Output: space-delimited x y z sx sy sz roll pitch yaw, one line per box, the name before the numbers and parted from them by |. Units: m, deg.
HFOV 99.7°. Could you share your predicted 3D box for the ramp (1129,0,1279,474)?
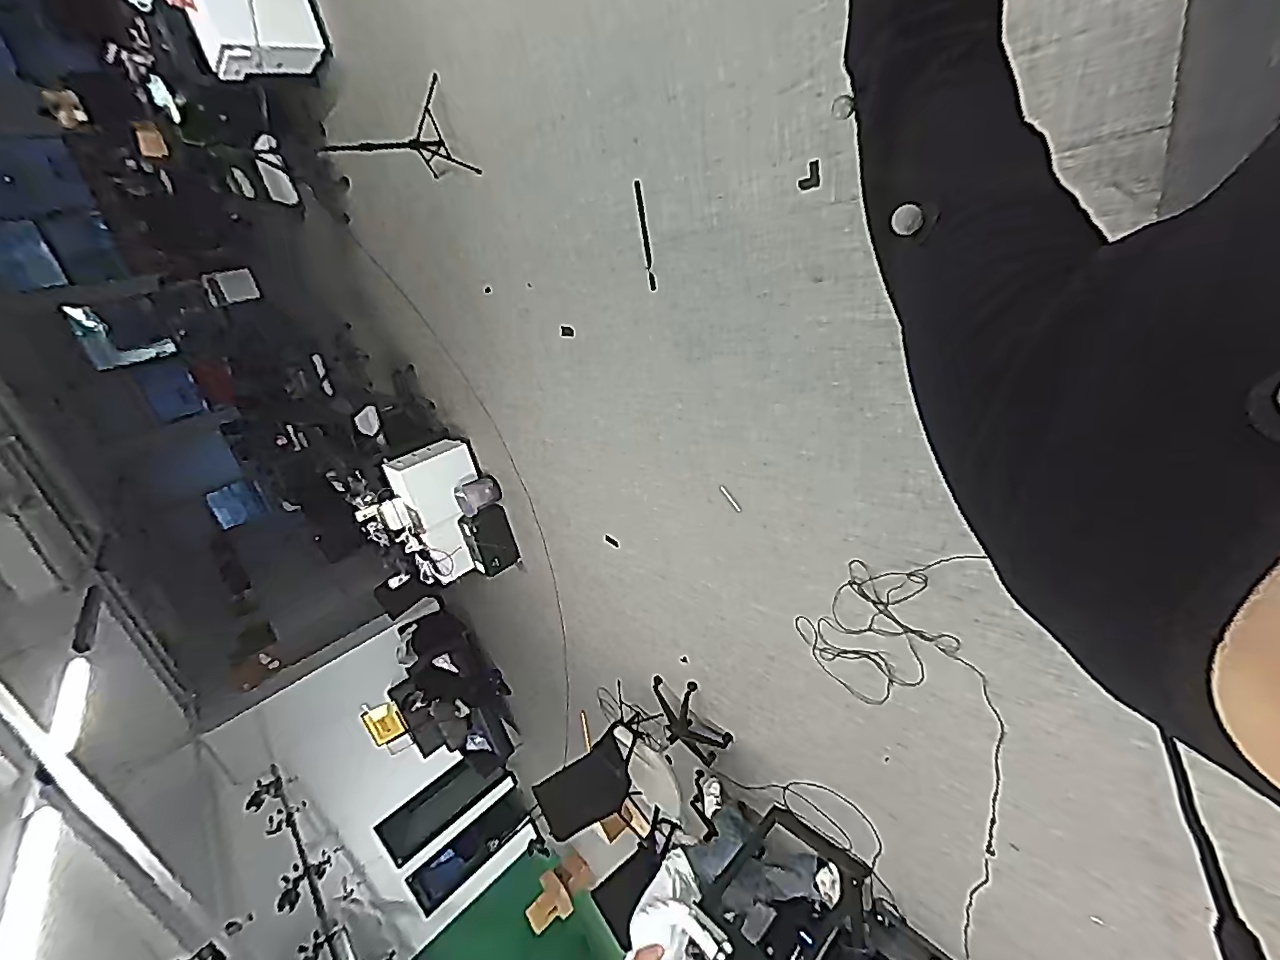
ramp | 1.187 -0.415 0.896 0.509 0.206 0.991 11 123 47
